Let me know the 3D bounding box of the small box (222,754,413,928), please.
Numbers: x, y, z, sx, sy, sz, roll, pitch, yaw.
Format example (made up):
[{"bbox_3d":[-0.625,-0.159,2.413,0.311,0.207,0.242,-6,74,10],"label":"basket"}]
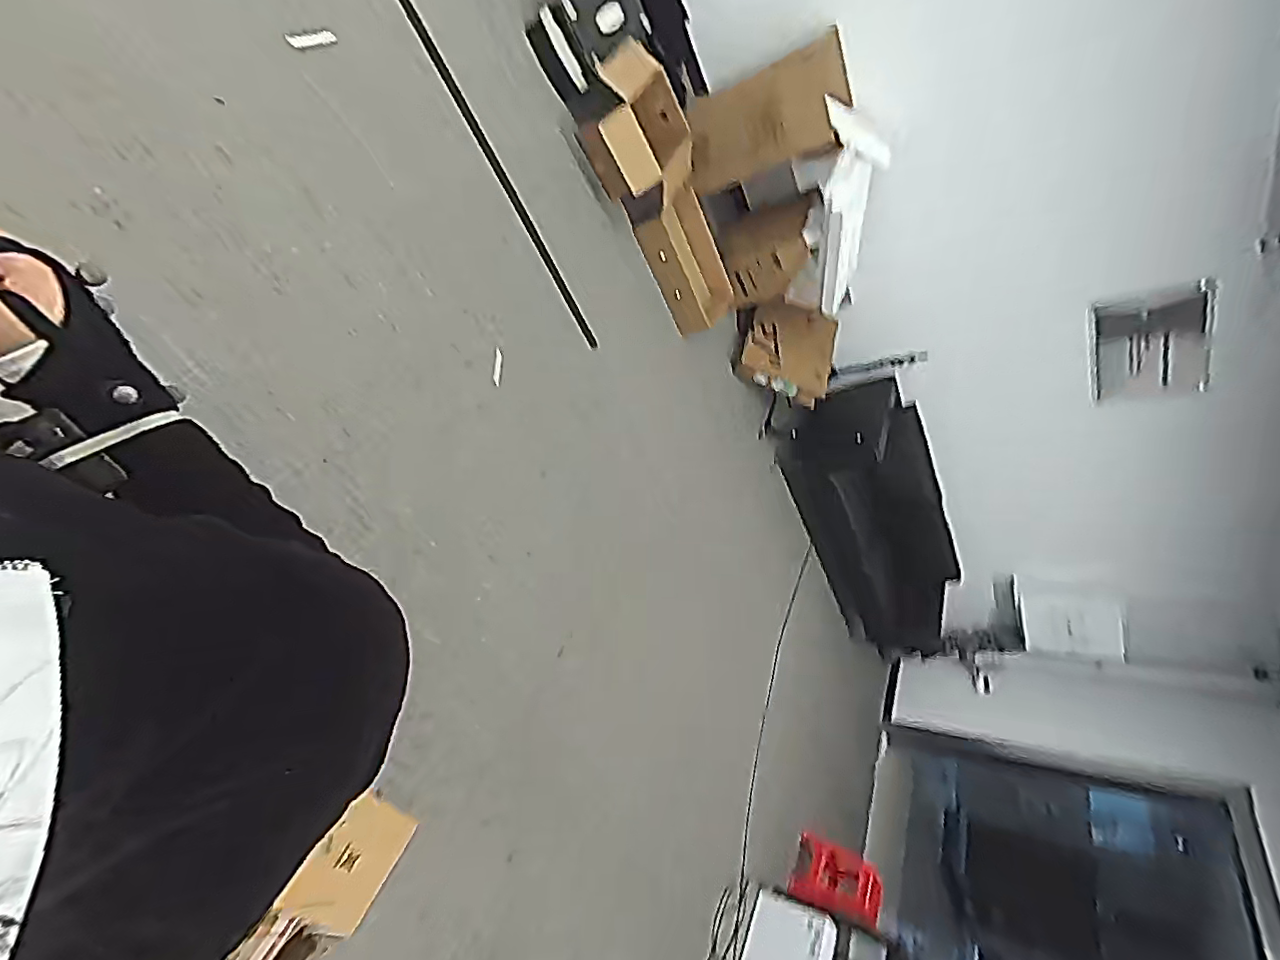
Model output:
[{"bbox_3d":[-0.523,0.577,0.883,0.179,0.176,0.168,57,44,-29],"label":"small box"}]
